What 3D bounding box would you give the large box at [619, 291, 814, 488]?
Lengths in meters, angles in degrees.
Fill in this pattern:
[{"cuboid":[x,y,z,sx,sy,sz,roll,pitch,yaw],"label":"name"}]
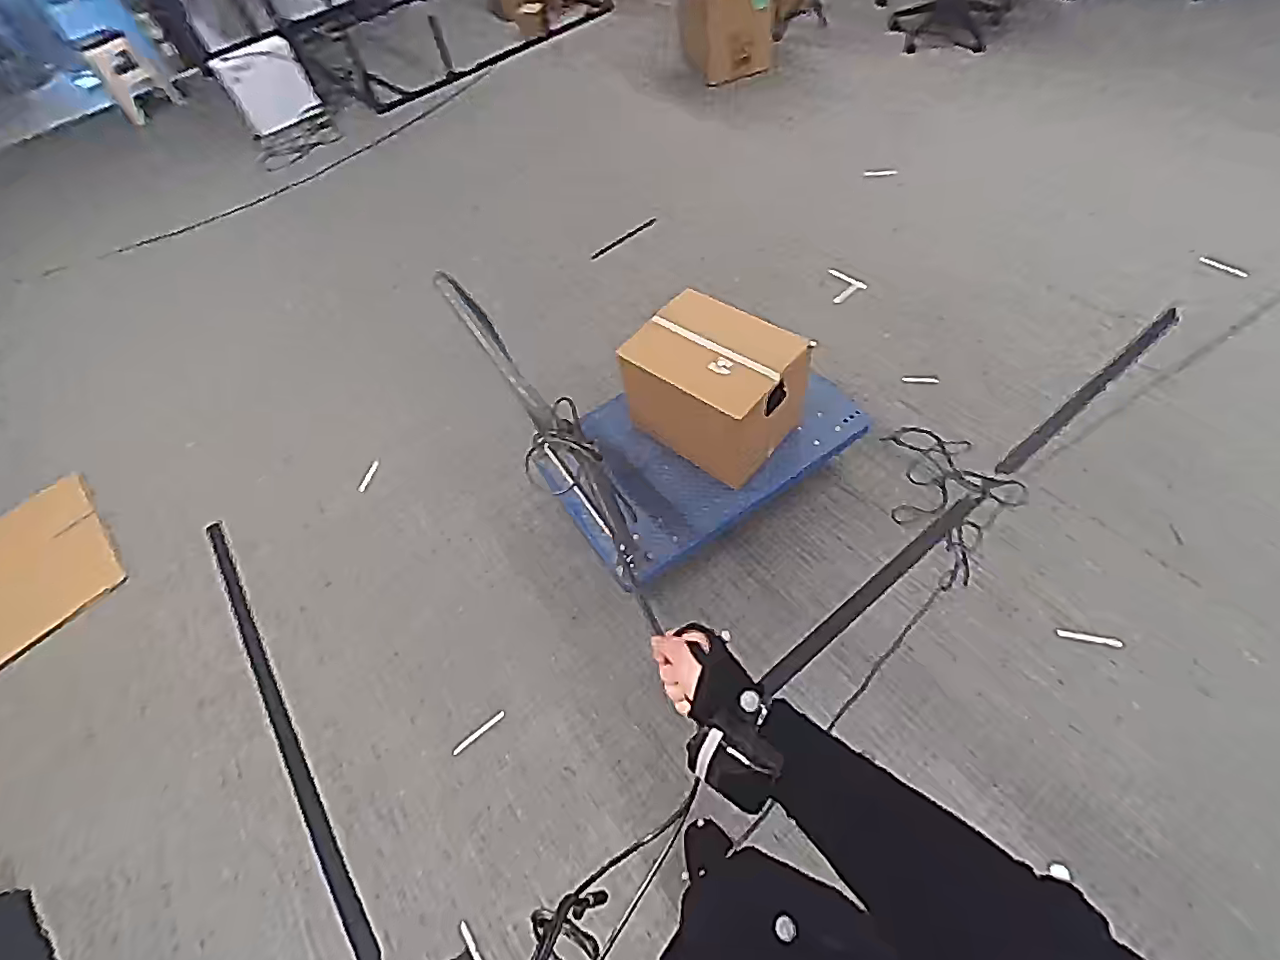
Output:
[{"cuboid":[0.203,-0.250,1.496,0.408,0.320,0.320,34,68,26],"label":"large box"}]
